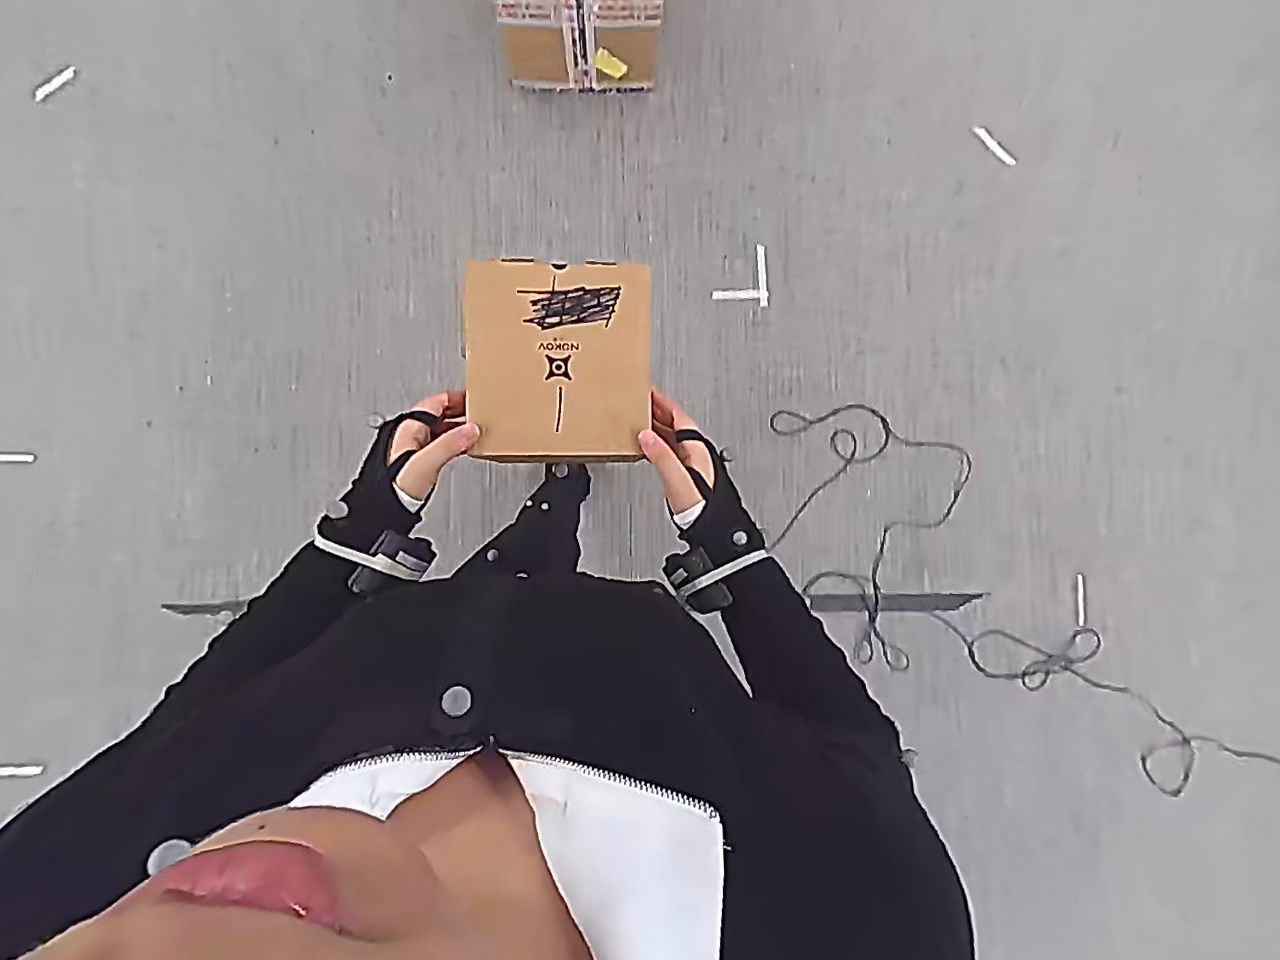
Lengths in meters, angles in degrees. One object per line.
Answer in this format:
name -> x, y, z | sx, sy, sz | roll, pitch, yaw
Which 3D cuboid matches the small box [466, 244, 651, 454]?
small box -> -0.080, -0.121, 0.565 | 0.168, 0.176, 0.179 | 0, 90, -5
